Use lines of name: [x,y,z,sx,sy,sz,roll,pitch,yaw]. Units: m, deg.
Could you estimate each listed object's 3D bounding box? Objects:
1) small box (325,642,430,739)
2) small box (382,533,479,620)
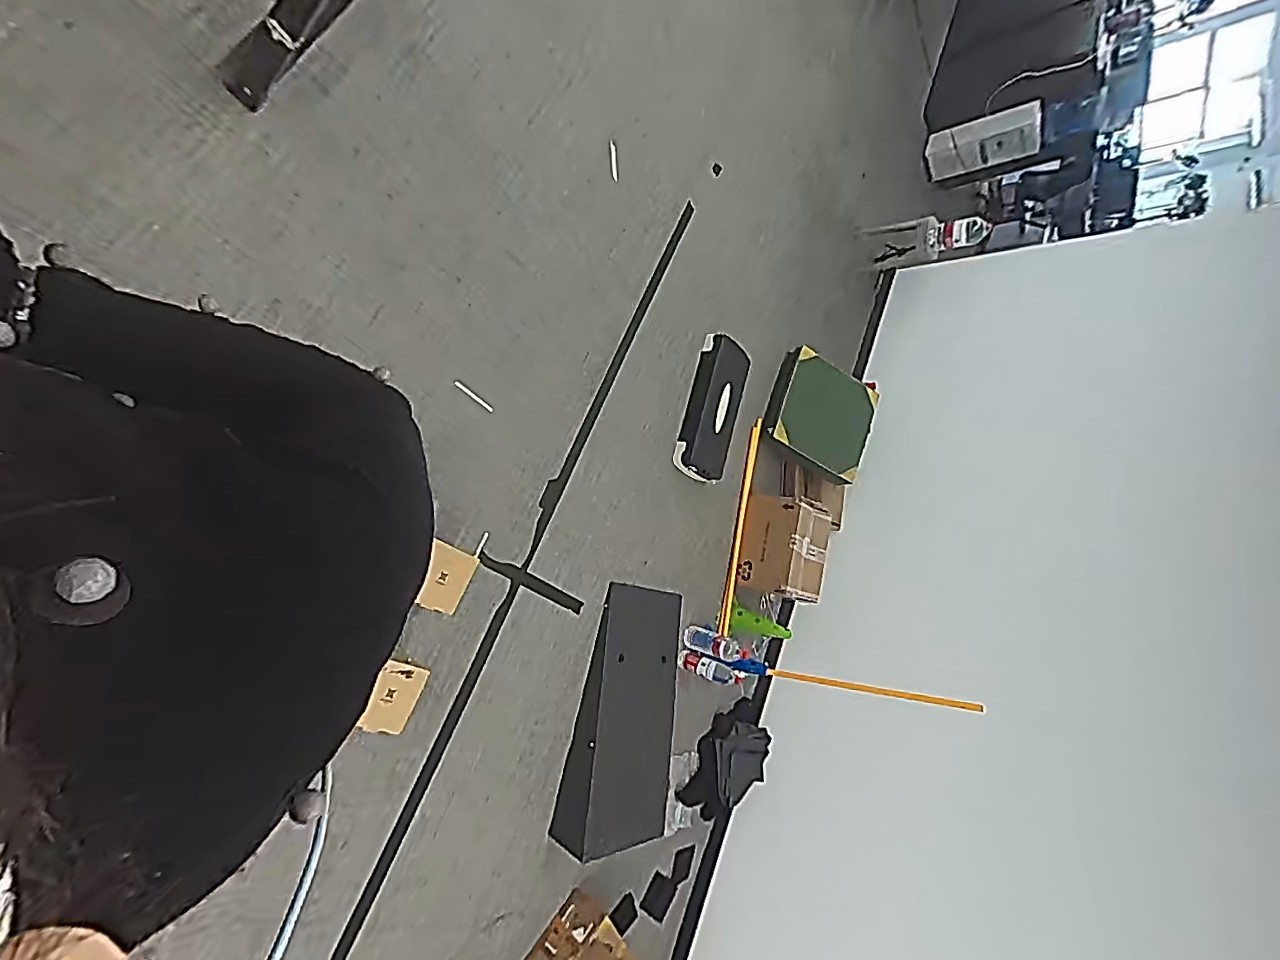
small box: [-0.704,0.558,1.439,0.168,0.176,0.179,40,66,-42]
small box: [-0.596,0.268,1.524,0.168,0.176,0.179,40,65,-42]
